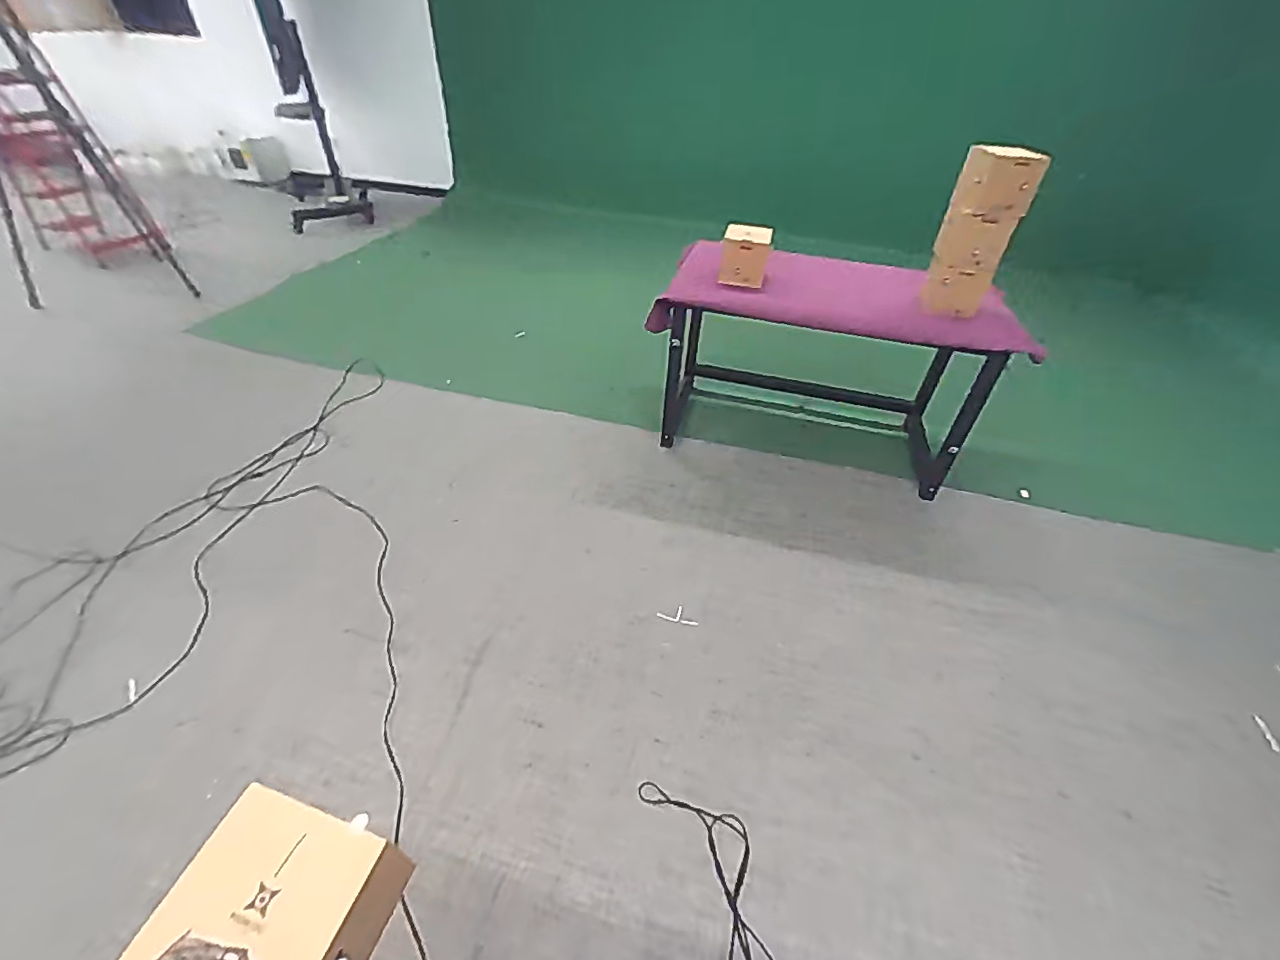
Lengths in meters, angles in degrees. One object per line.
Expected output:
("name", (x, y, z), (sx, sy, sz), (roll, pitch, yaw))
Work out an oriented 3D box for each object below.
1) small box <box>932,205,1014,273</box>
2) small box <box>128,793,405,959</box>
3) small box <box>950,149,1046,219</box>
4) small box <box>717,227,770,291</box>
("small box", (1.118, -0.821, 1.832), (0.168, 0.176, 0.179), (9, 41, 7))
("small box", (-0.375, 0.471, 0.570), (0.168, 0.176, 0.179), (18, 47, 6))
("small box", (1.132, -0.944, 1.726), (0.168, 0.176, 0.179), (3, 40, -2))
("small box", (0.392, -0.842, 2.056), (0.168, 0.176, 0.179), (11, 43, 7))
